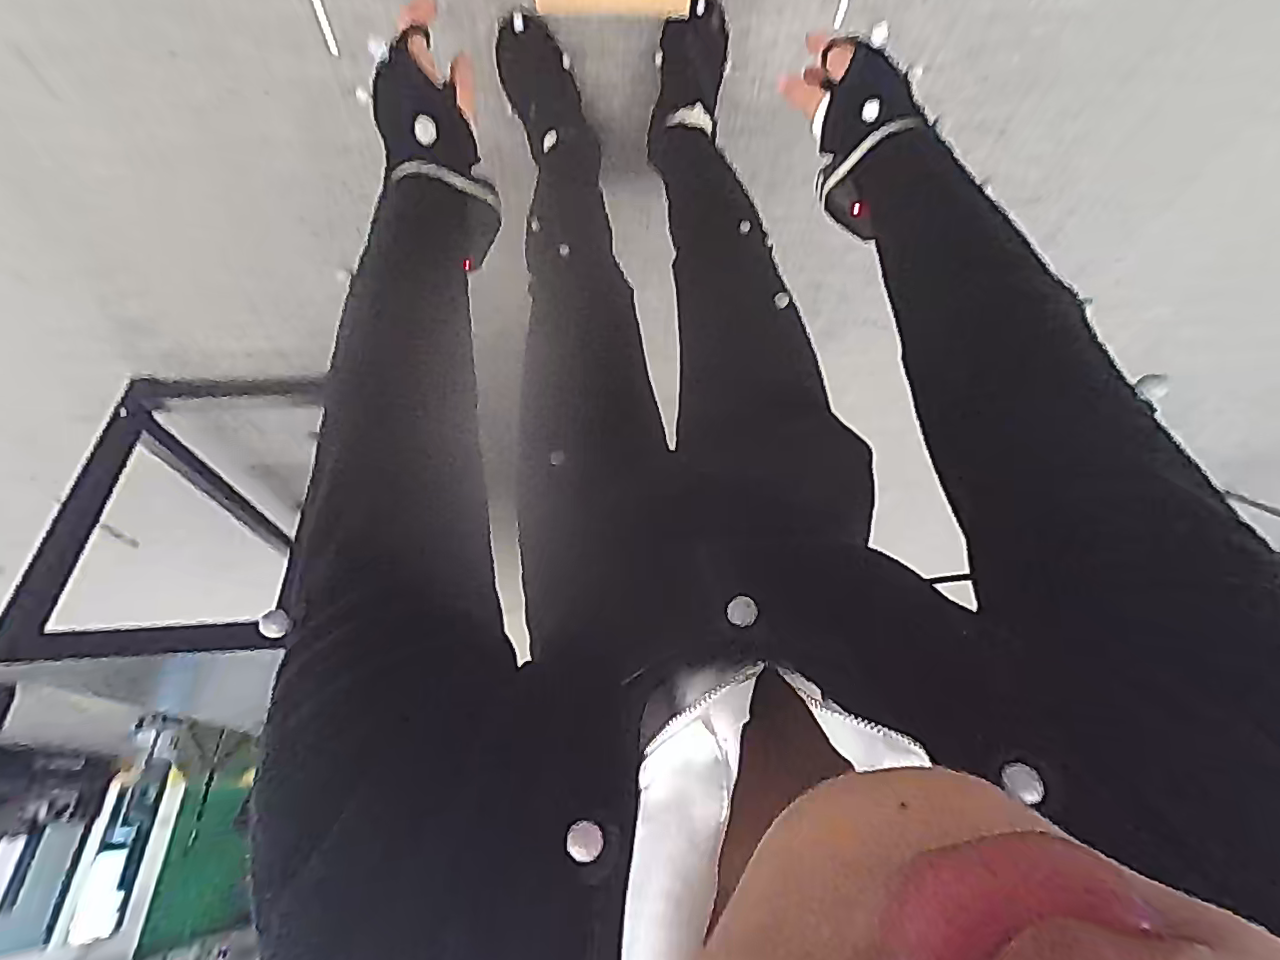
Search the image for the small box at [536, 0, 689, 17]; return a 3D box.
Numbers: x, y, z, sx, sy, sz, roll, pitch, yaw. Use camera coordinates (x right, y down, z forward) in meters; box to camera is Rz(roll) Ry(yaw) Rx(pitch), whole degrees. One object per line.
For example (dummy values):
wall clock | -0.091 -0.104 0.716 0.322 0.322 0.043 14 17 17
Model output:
small box | -0.030 -0.612 0.546 0.168 0.176 0.179 -2 150 -5
